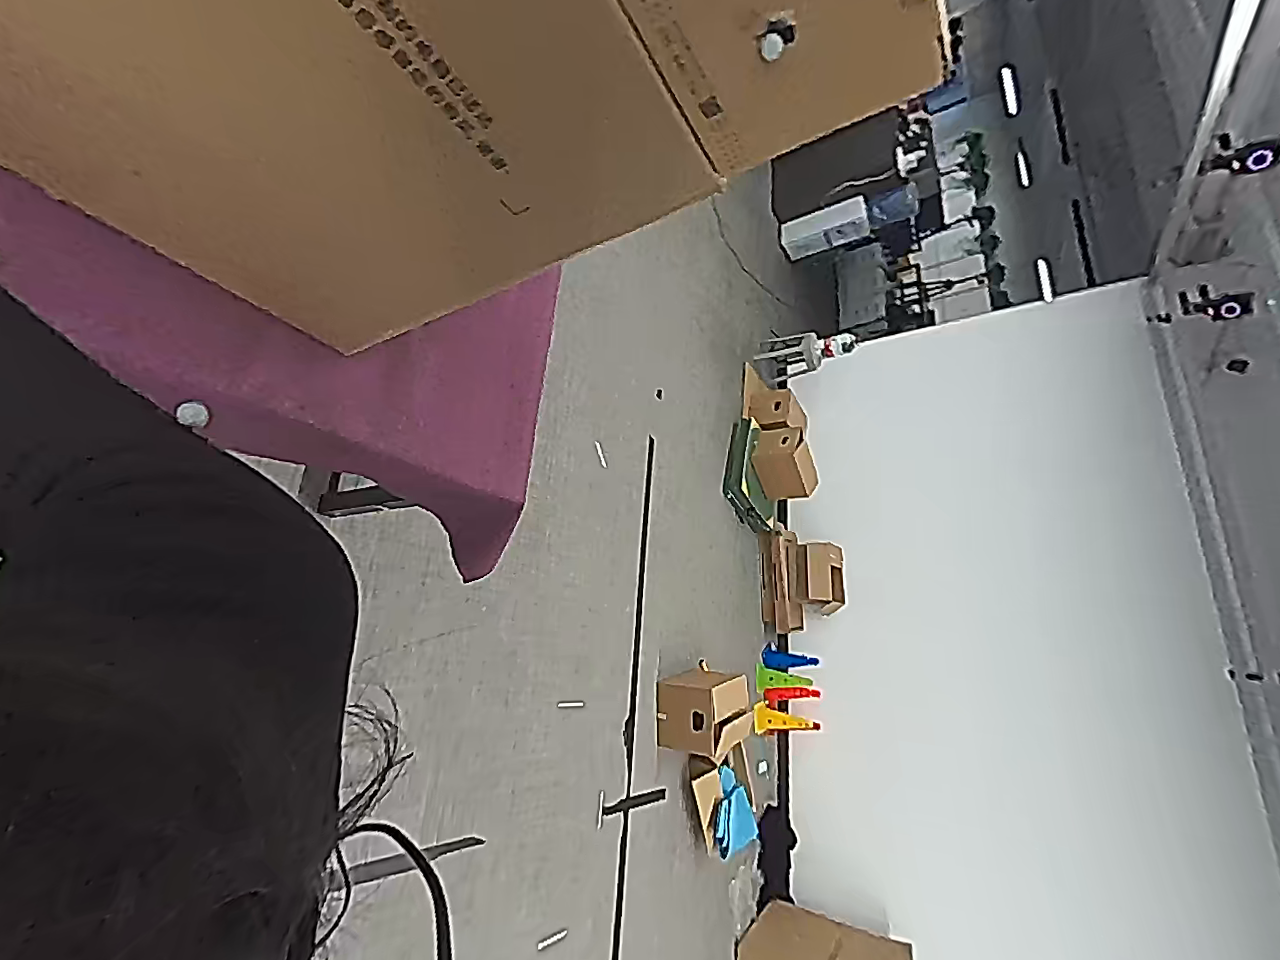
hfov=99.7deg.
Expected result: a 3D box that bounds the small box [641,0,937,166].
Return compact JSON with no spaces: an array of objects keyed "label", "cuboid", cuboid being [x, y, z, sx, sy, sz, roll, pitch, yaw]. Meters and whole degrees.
[{"label":"small box","cuboid":[0.102,-0.369,0.382,0.168,0.176,0.179,34,58,-50]}]
